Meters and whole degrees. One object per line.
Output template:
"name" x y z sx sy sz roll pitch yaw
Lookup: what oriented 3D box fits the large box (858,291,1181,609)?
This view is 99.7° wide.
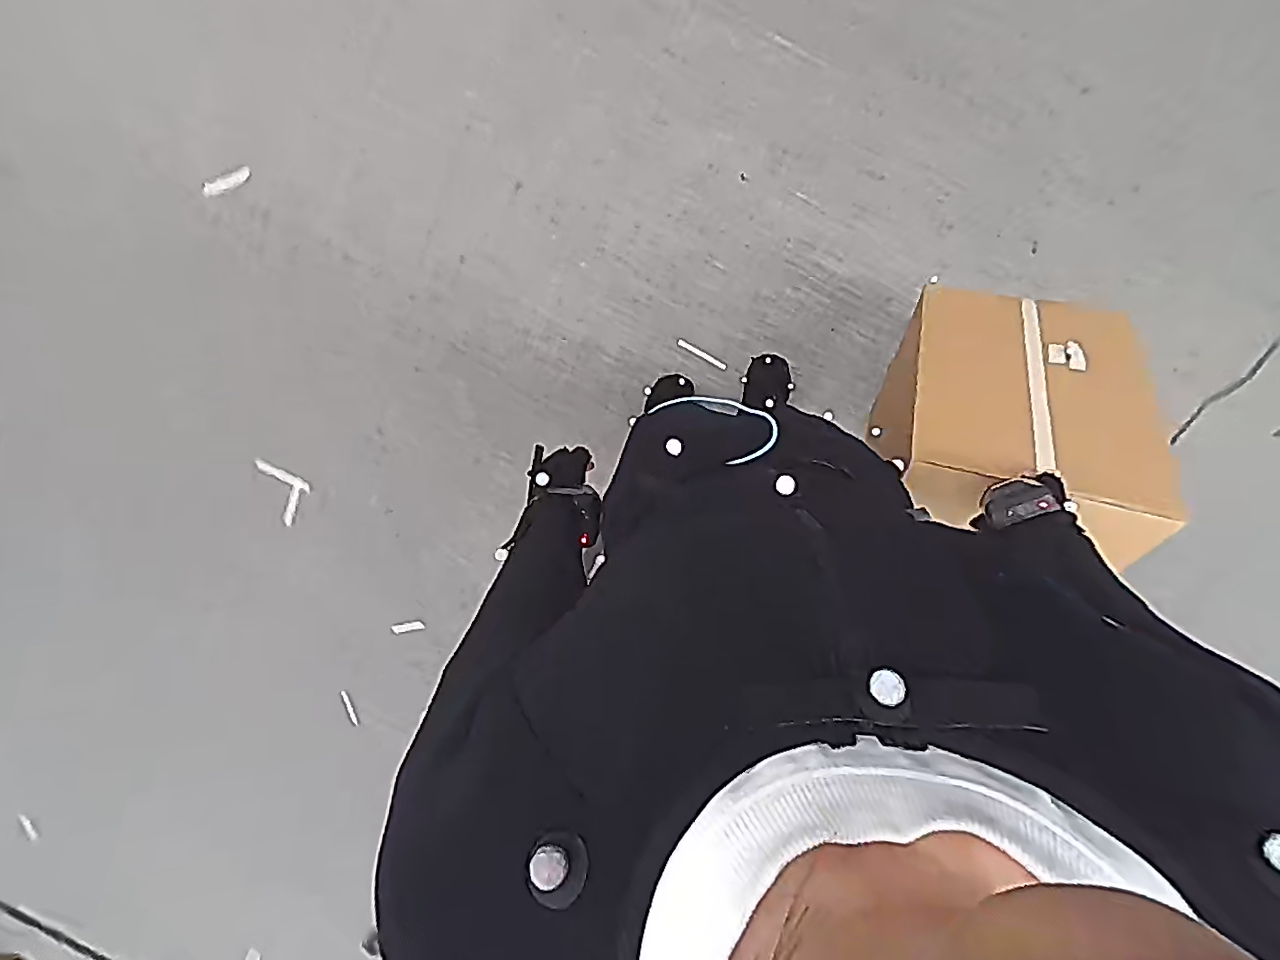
"large box" 0.575 -0.054 0.912 0.320 0.408 0.320 14 145 12
